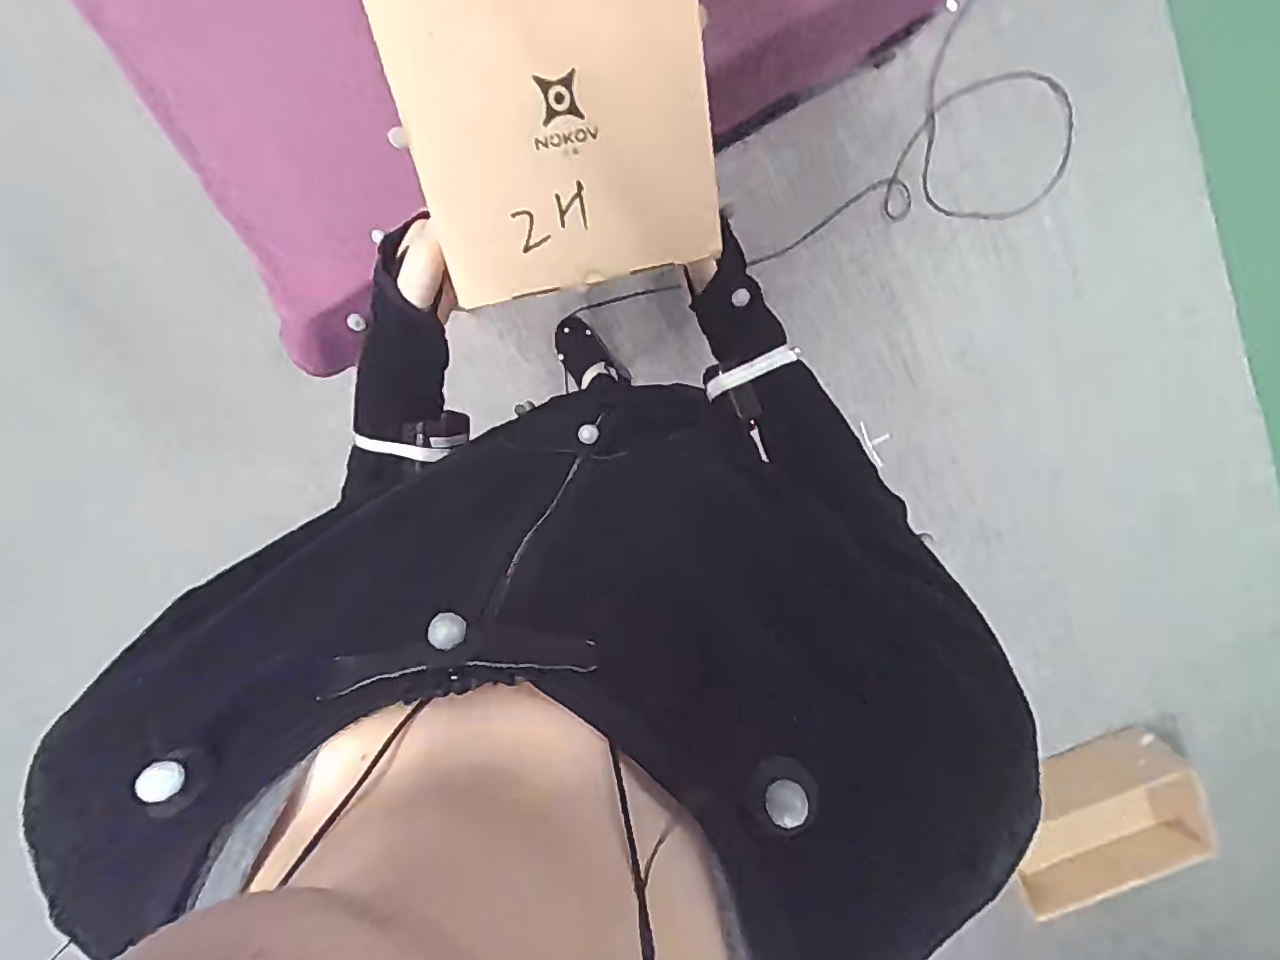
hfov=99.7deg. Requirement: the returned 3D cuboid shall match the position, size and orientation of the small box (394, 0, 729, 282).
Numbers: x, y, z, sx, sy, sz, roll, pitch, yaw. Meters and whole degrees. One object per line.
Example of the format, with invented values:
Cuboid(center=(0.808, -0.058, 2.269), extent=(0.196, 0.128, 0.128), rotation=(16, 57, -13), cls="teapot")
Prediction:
Cuboid(center=(-0.049, -0.241, 0.359), extent=(0.168, 0.176, 0.179), rotation=(-11, 118, -5), cls="small box")
